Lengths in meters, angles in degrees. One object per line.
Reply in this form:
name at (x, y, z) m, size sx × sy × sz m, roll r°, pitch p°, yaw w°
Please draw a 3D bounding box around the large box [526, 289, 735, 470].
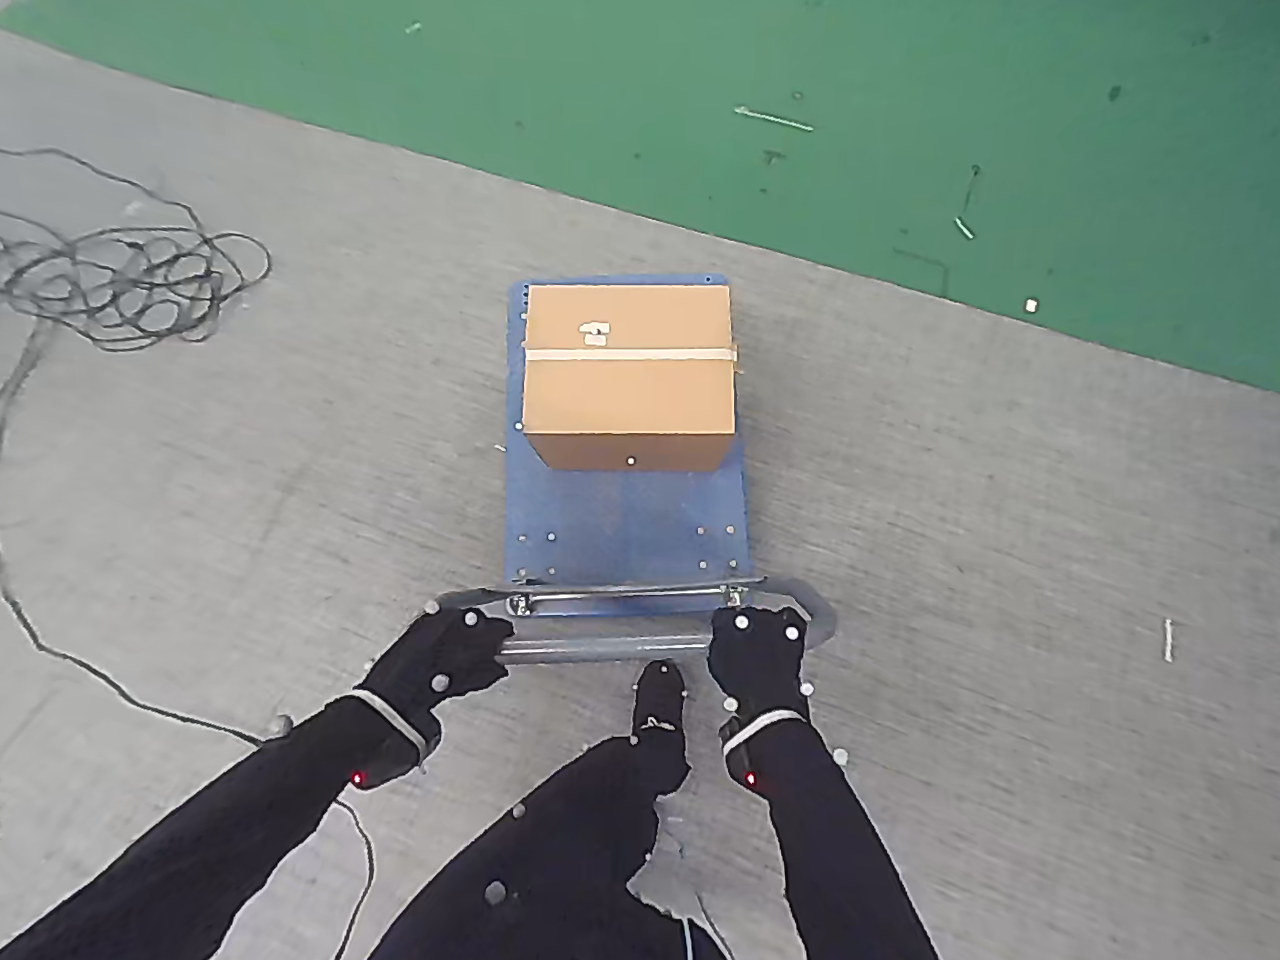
large box at (-0.014, -0.200, 1.196) m, size 0.408 × 0.320 × 0.320 m, roll 0°, pitch 78°, yaw 1°
